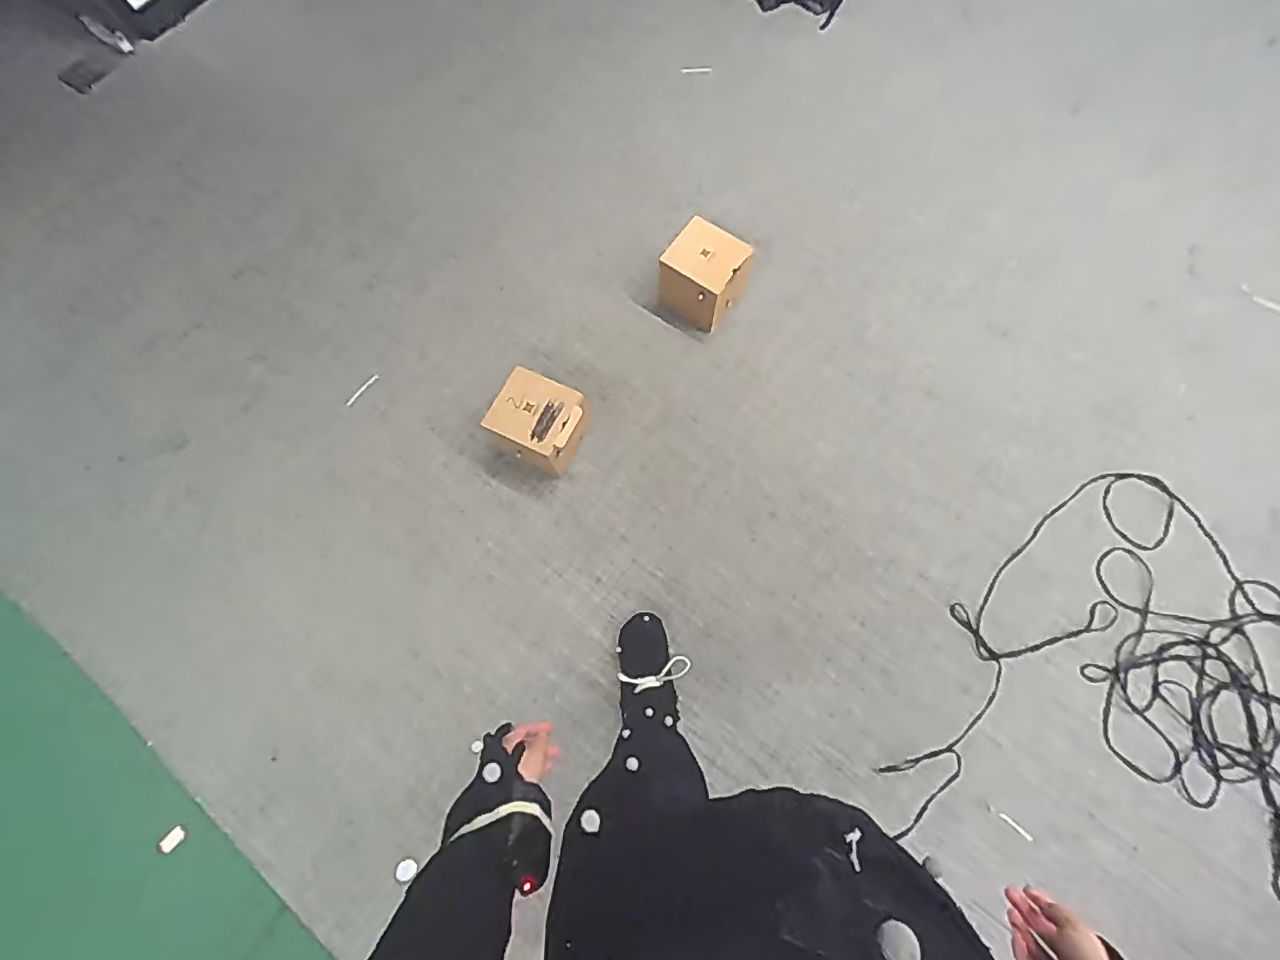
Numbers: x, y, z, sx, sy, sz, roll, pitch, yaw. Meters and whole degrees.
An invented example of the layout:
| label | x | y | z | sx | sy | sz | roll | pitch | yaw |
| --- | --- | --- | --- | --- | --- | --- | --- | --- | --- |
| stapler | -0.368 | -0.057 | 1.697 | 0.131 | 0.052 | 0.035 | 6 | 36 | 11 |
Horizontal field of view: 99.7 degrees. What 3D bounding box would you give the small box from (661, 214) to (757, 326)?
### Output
| label | x | y | z | sx | sy | sz | roll | pitch | yaw |
| --- | --- | --- | --- | --- | --- | --- | --- | --- | --- |
| small box | 0.167 | -0.528 | 1.383 | 0.179 | 0.176 | 0.168 | 35 | 76 | 9 |
